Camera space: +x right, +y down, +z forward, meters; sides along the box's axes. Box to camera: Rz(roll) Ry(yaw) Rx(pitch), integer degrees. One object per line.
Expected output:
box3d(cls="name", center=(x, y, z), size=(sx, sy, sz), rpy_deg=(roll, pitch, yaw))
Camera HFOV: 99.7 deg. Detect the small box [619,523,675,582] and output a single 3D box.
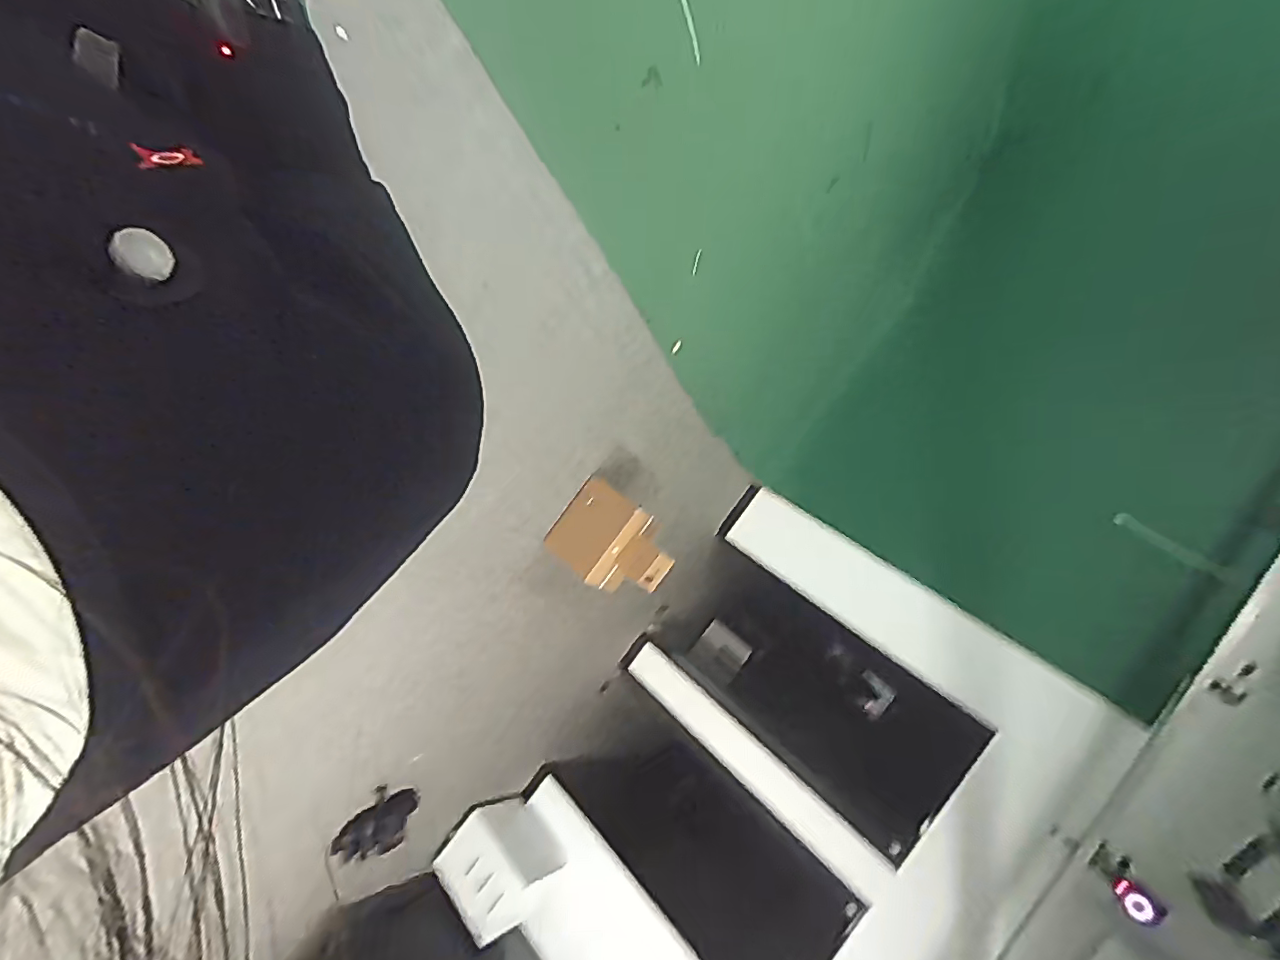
box3d(cls="small box", center=(0.024, 0.332, 2.479), size=(0.179, 0.176, 0.168), rpy_deg=(-50, 146, -8))
